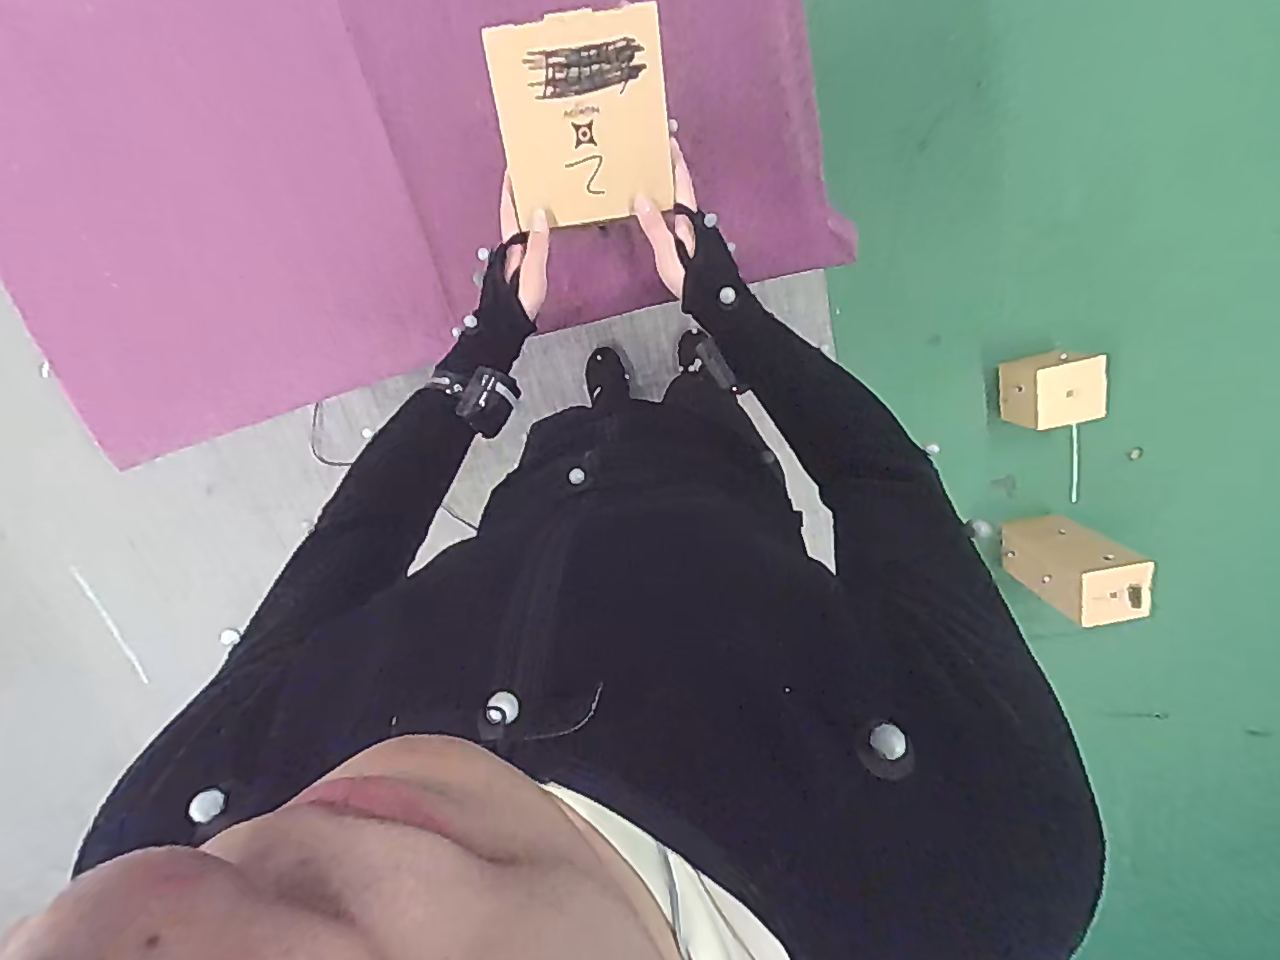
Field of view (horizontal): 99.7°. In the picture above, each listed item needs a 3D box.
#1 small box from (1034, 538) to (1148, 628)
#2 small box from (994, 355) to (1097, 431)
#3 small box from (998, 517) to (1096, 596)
[{"bbox_3d":[1.227,0.275,1.479,0.179,0.176,0.168,-13,106,4],"label":"small box"},{"bbox_3d":[1.112,-0.245,1.497,0.179,0.176,0.168,-14,106,3],"label":"small box"},{"bbox_3d":[1.225,0.225,1.636,0.179,0.176,0.168,-12,106,4],"label":"small box"}]
